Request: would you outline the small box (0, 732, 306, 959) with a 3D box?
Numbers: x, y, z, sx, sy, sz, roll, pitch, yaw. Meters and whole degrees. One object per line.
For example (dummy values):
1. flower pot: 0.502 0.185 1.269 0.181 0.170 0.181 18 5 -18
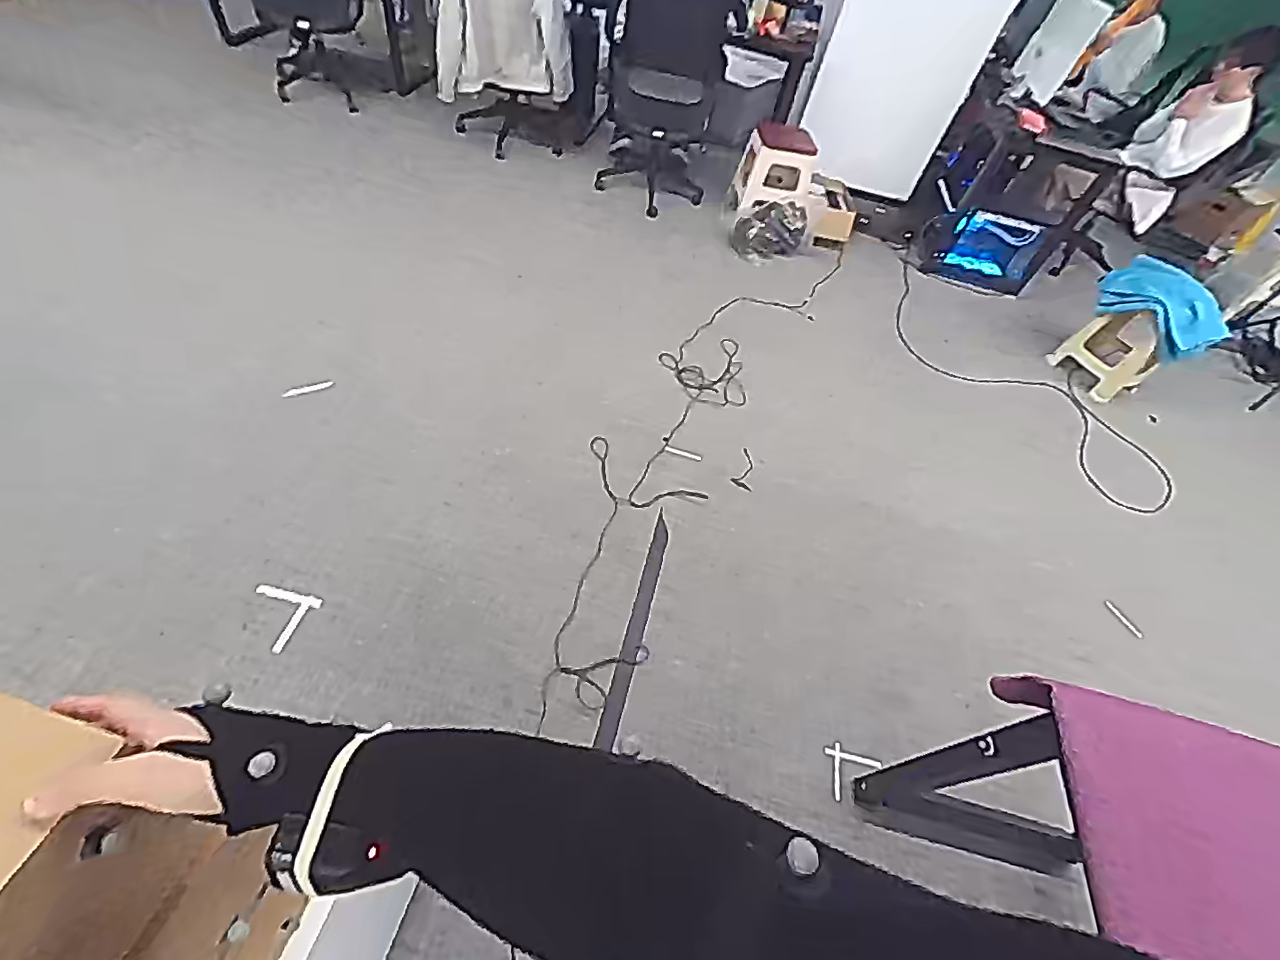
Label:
1. small box: -0.430 0.341 0.453 0.179 0.176 0.168 19 52 2
